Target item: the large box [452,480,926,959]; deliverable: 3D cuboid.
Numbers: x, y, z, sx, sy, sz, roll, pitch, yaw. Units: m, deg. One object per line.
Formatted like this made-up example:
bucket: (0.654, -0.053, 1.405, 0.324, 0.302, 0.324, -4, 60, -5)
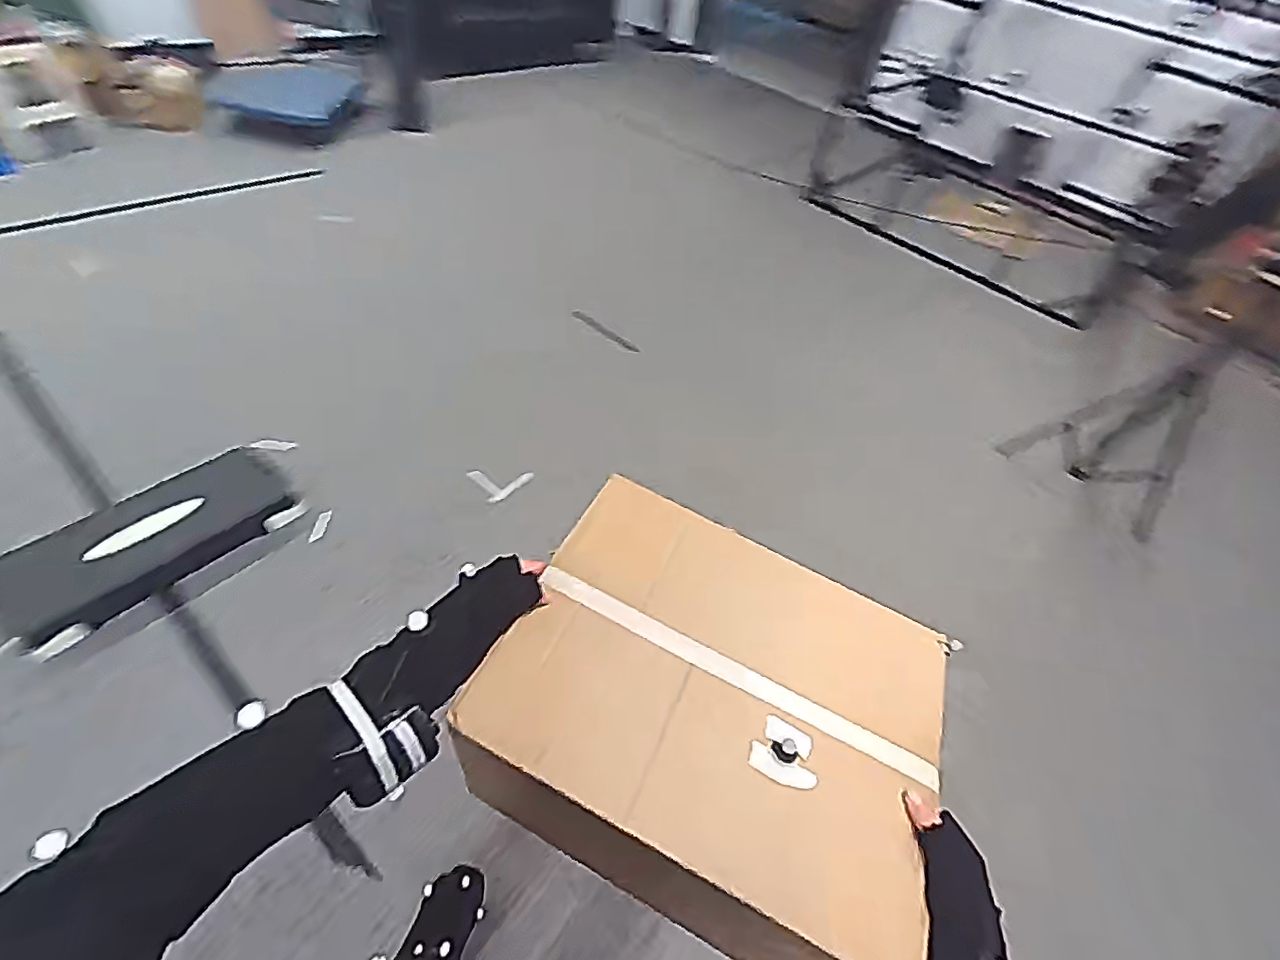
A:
large box: (0.047, 0.272, 0.634, 0.408, 0.320, 0.320, 26, 51, 8)
